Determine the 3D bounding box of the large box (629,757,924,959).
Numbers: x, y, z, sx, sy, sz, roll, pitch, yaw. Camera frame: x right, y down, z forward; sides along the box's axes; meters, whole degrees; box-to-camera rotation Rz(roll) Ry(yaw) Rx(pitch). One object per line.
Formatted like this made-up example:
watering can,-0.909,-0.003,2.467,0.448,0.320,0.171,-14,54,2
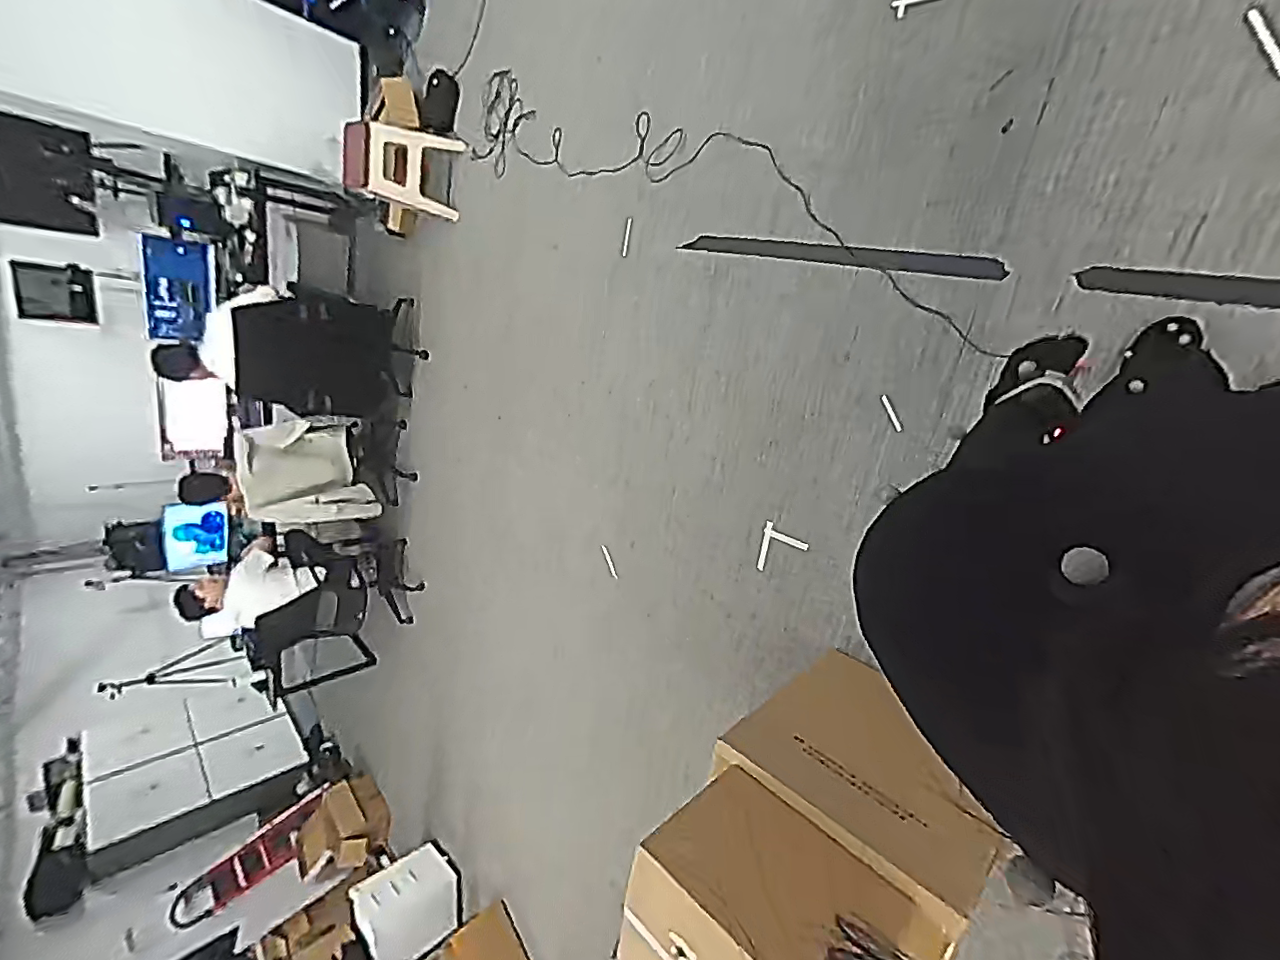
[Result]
large box,0.240,0.821,1.005,0.408,0.320,0.320,23,110,41
